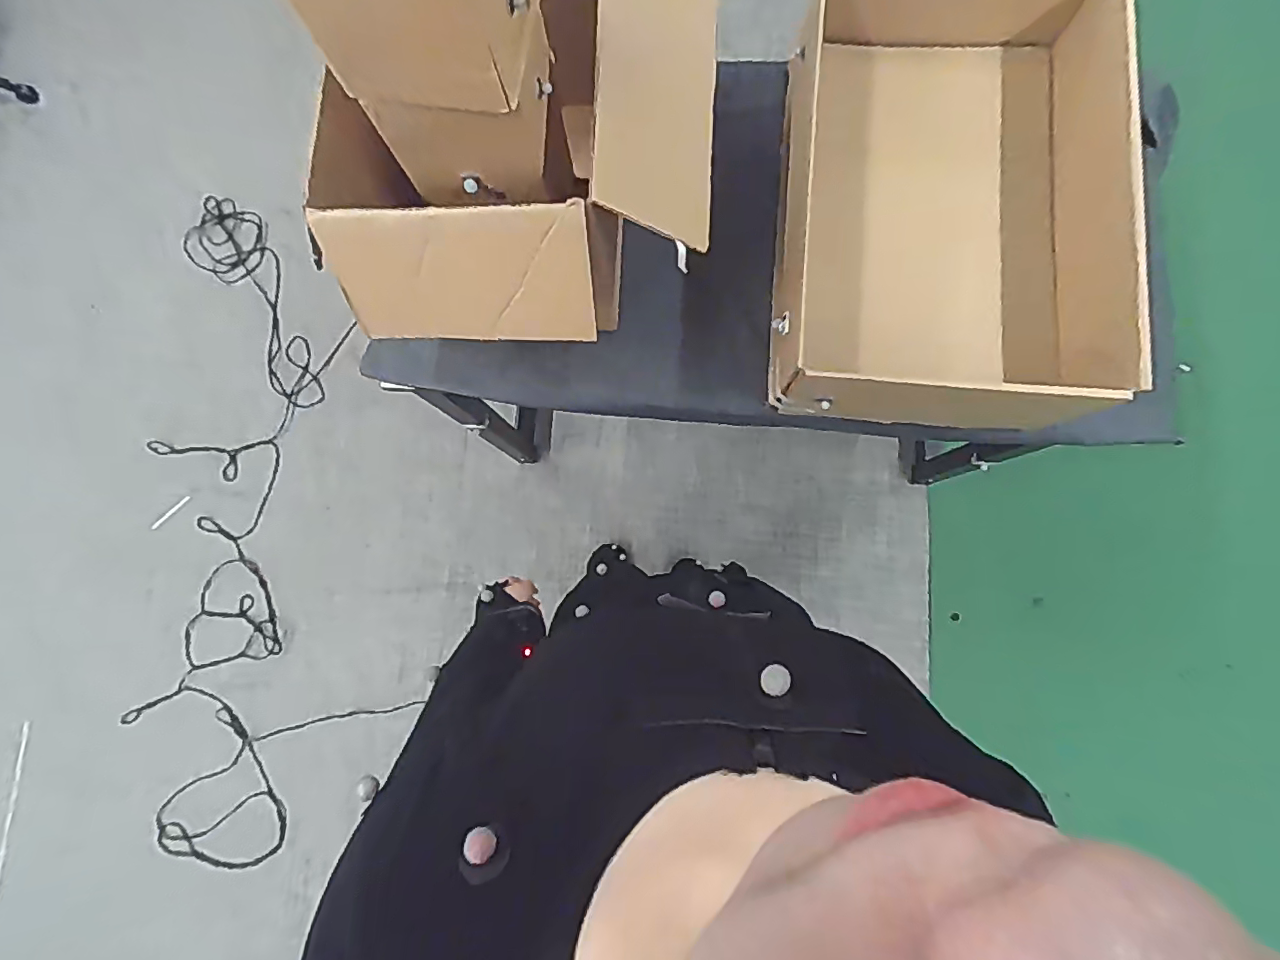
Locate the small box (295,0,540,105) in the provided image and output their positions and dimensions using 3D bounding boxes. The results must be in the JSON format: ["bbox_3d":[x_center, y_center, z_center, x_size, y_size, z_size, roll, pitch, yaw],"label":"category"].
[{"bbox_3d":[-0.200,-0.466,0.467,0.179,0.176,0.168,9,83,4],"label":"small box"}]
